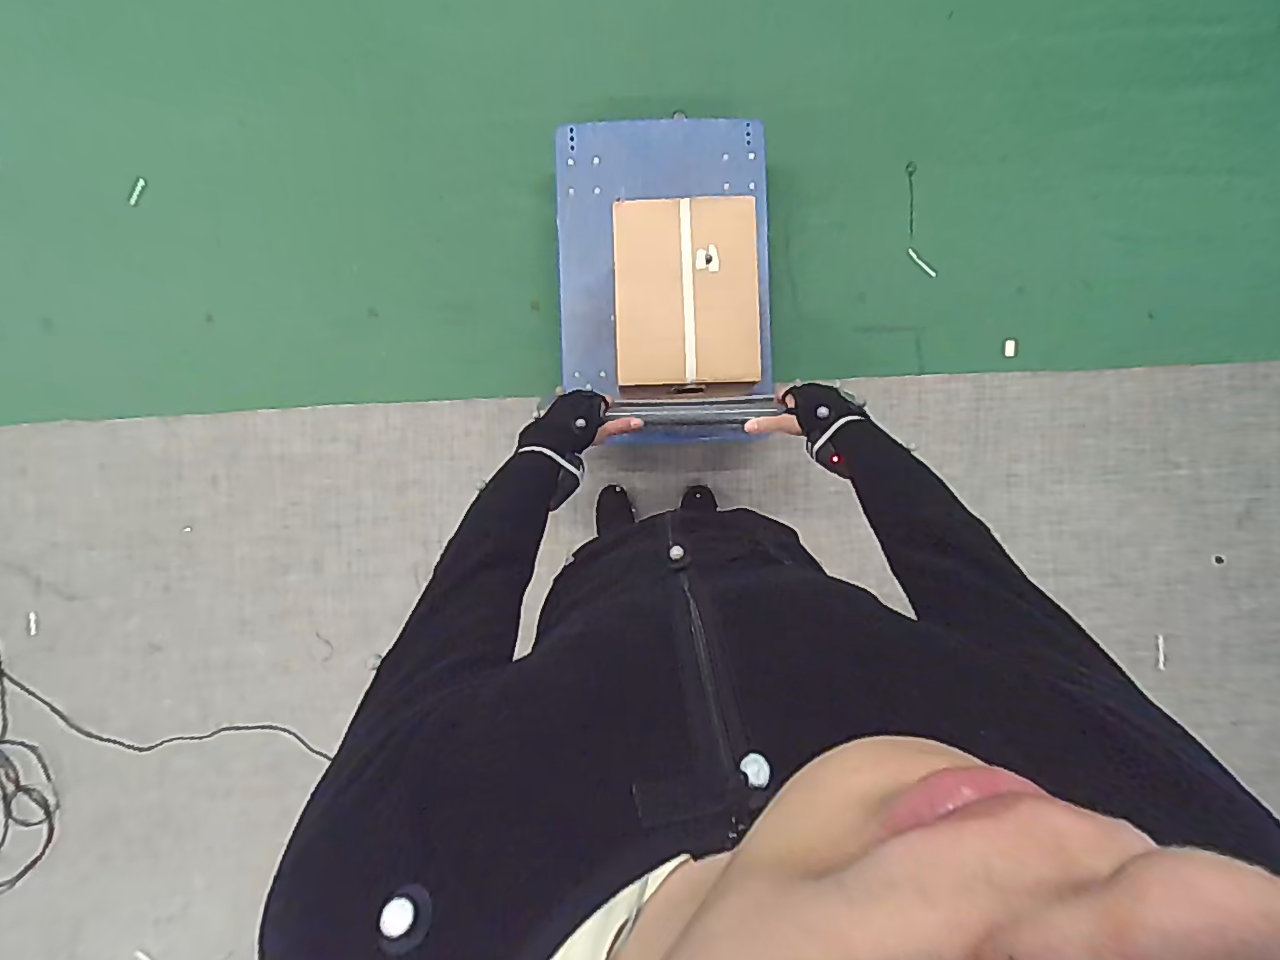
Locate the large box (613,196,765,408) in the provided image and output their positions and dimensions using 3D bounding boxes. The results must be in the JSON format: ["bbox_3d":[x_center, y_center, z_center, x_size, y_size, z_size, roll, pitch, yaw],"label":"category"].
[{"bbox_3d":[0.104,-0.400,1.302,0.320,0.320,0.408,-2,89,-1],"label":"large box"}]
